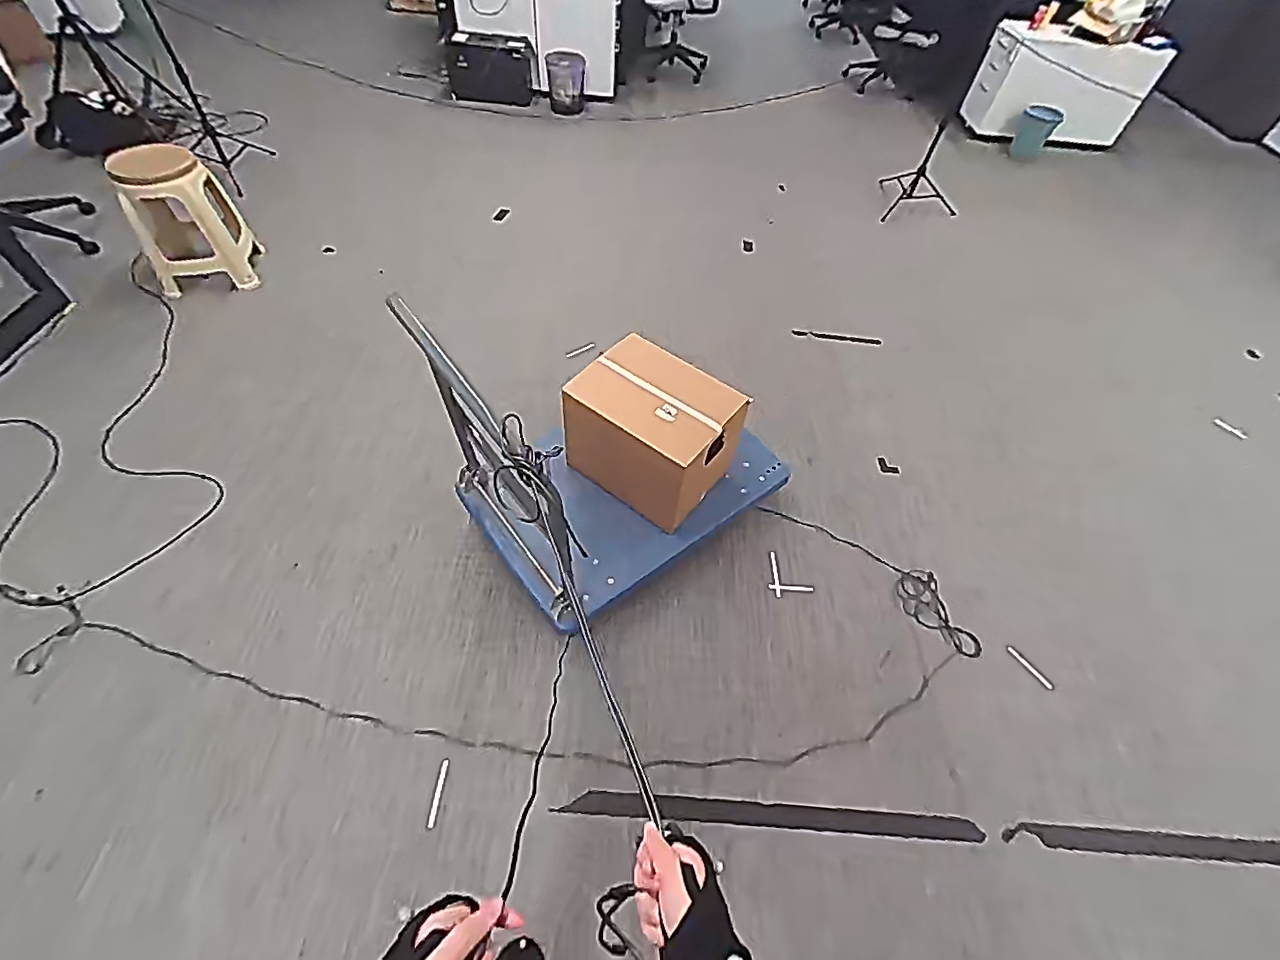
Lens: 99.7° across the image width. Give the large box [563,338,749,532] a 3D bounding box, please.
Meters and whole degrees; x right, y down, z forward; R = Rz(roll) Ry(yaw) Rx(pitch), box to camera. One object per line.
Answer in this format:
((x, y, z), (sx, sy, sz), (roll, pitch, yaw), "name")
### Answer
((0.030, -0.130, 1.541), (0.408, 0.320, 0.320), (34, 58, 18), "large box")
